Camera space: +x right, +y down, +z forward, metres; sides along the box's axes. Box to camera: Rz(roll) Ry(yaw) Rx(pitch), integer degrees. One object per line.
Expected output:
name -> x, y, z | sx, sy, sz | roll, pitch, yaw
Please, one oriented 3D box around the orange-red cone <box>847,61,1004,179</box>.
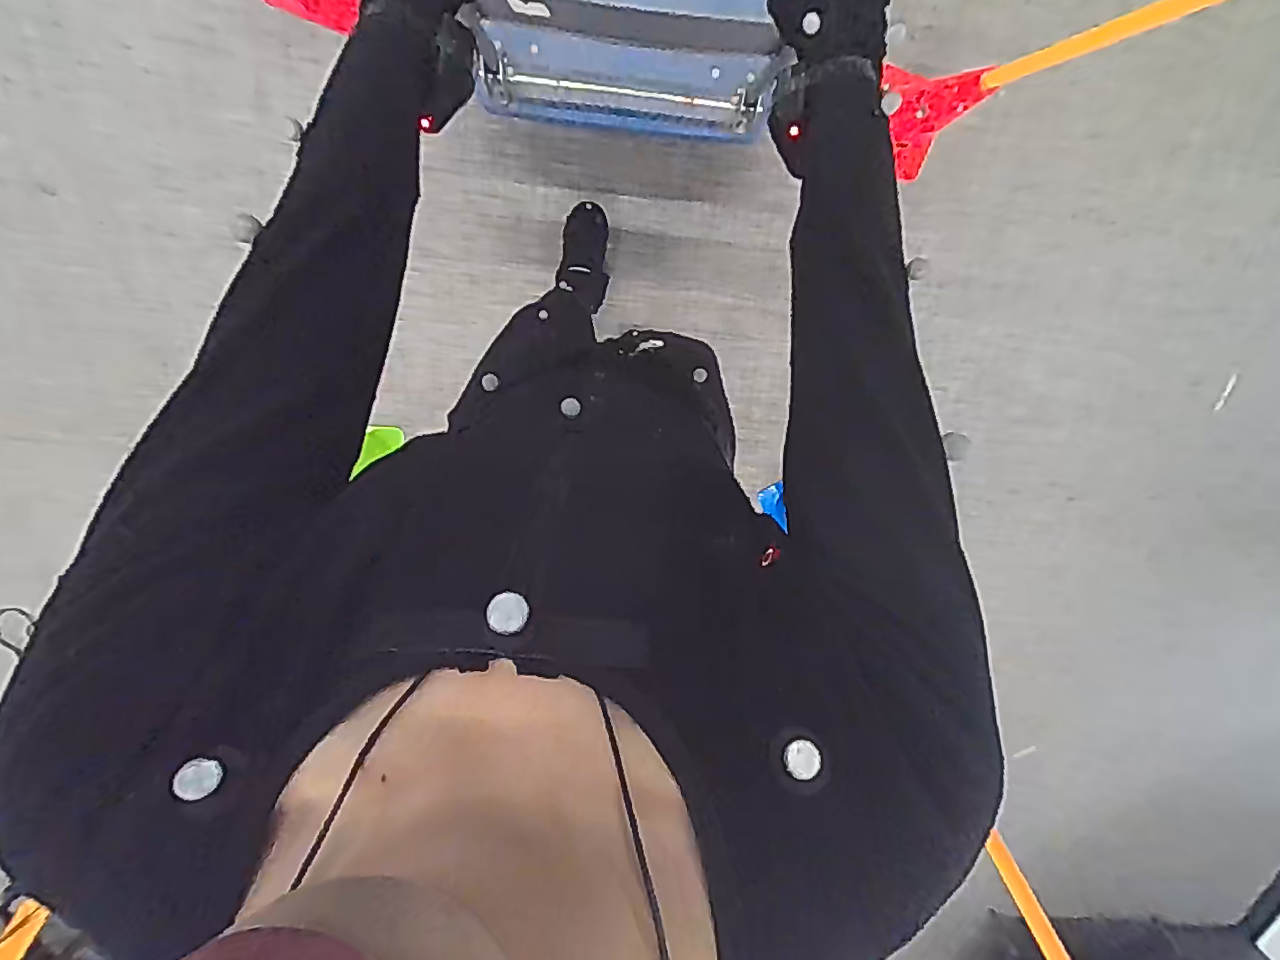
orange-red cone -> 0.603, -0.760, 1.090 | 0.198, 0.360, 0.199 | 15, 112, -8
